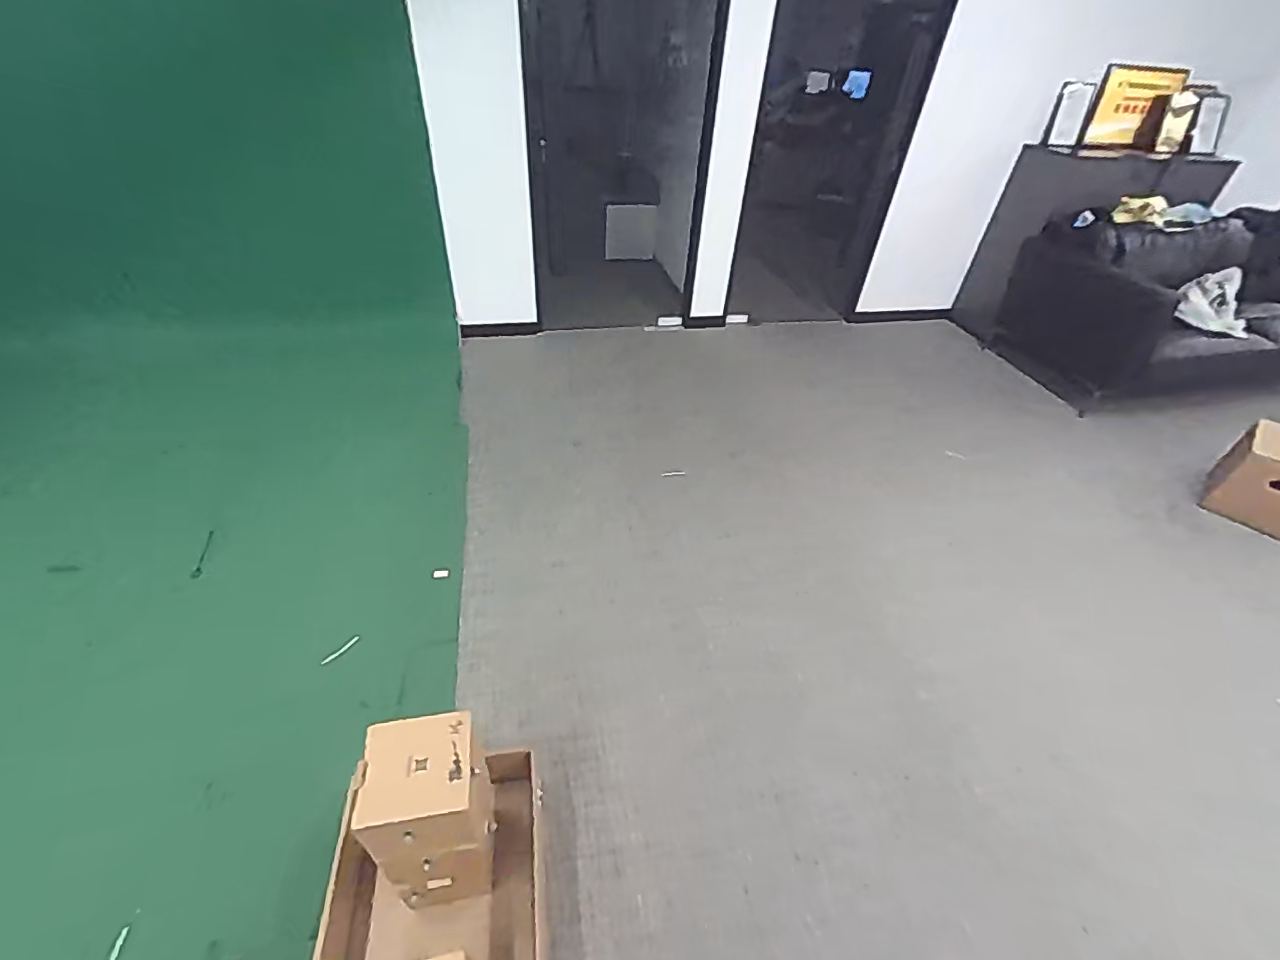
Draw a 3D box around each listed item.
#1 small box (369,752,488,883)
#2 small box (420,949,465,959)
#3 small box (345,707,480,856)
[{"bbox_3d":[-0.397,0.653,1.048,0.179,0.176,0.168,-1,41,-10],"label":"small box"},{"bbox_3d":[-0.390,0.958,0.932,0.179,0.176,0.168,-5,39,-15],"label":"small box"},{"bbox_3d":[-0.383,0.527,0.944,0.179,0.176,0.168,-4,41,-11],"label":"small box"}]
